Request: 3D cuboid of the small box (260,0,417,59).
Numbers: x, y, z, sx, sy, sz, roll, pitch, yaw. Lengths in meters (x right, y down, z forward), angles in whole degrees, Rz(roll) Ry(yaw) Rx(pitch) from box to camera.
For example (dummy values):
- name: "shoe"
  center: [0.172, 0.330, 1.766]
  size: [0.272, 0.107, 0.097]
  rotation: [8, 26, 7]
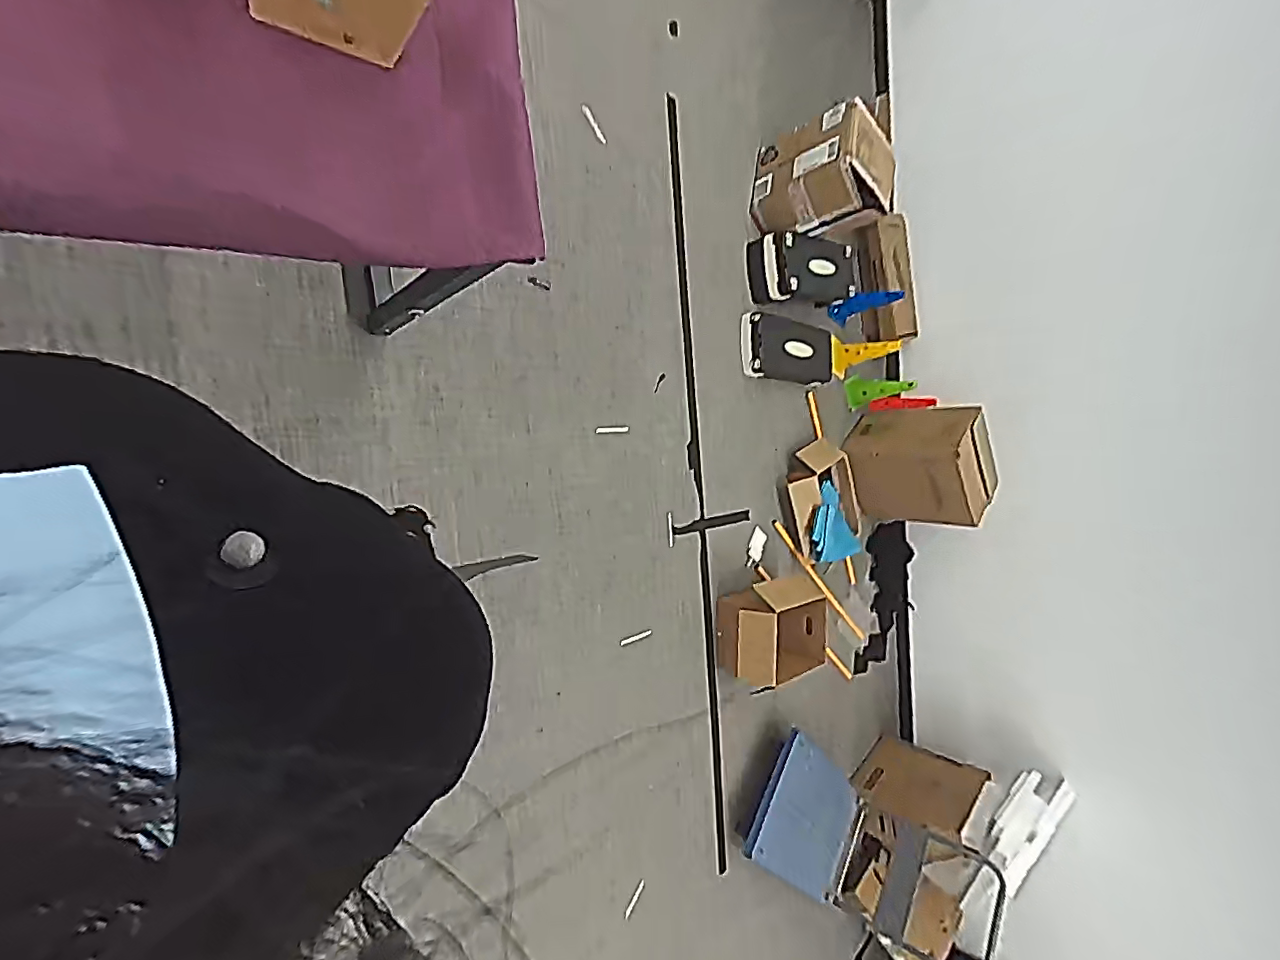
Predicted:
- name: "small box"
  center: [-0.369, -0.664, 0.648]
  size: [0.168, 0.176, 0.179]
  rotation: [-8, 95, -41]
